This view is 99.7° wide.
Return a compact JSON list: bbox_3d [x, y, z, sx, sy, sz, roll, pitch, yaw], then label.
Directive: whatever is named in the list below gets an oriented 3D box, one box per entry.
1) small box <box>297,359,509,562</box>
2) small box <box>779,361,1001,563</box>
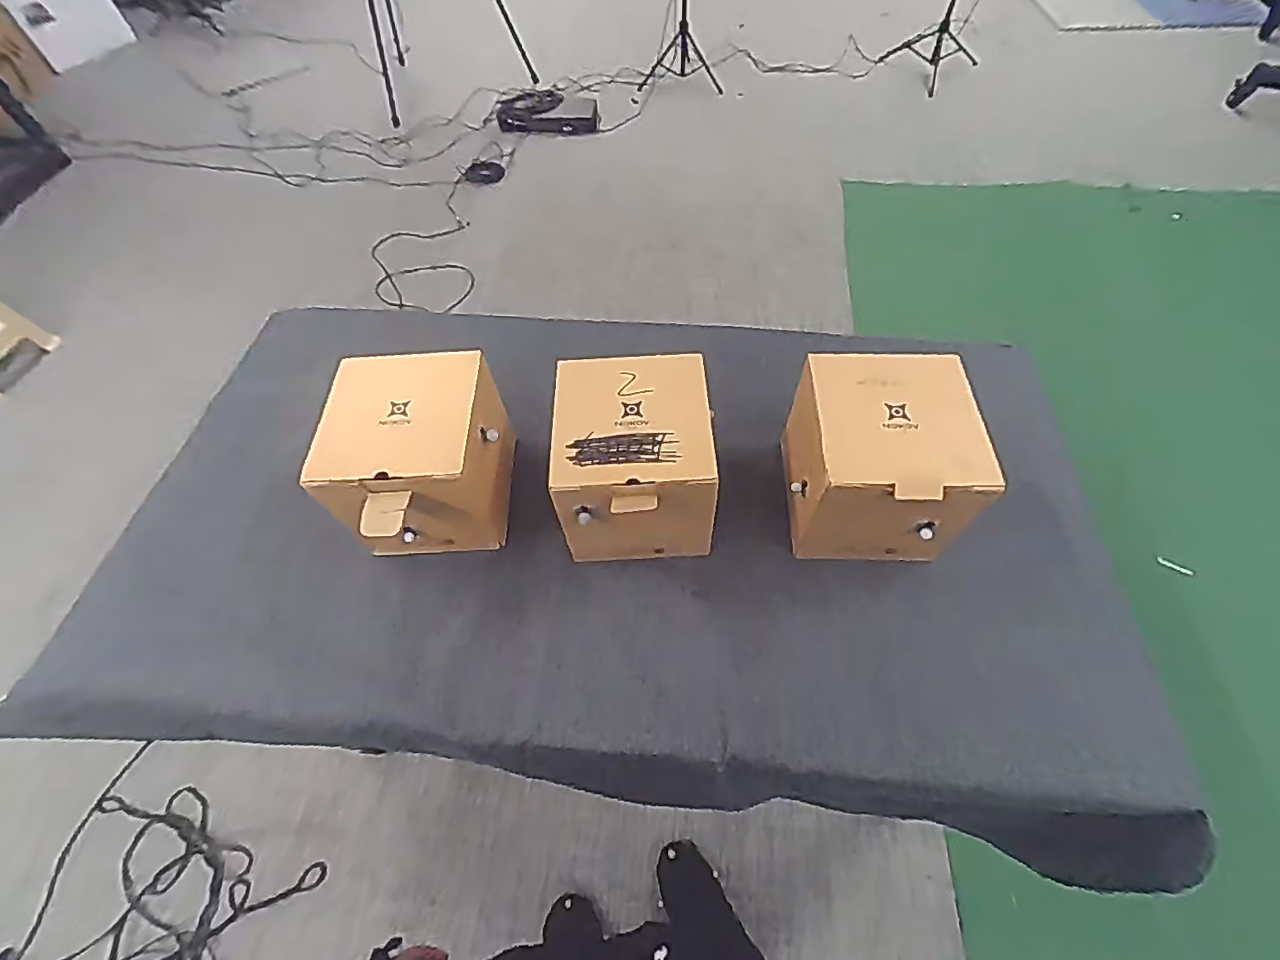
[{"bbox_3d":[-0.258,-0.019,0.643,0.168,0.176,0.179,-4,57,0],"label":"small box"},{"bbox_3d":[0.262,-0.015,0.618,0.168,0.176,0.179,1,56,2],"label":"small box"}]
